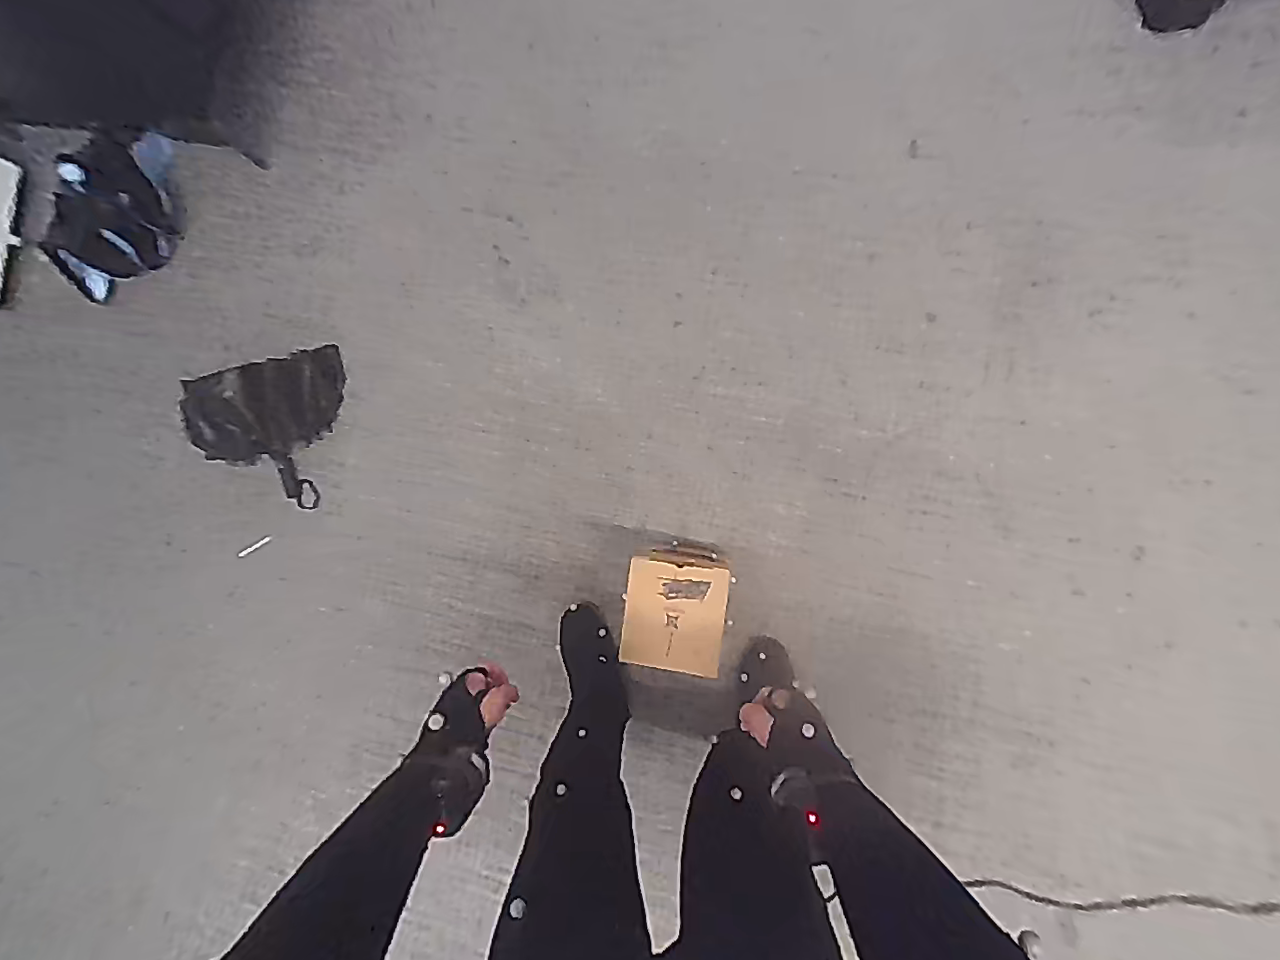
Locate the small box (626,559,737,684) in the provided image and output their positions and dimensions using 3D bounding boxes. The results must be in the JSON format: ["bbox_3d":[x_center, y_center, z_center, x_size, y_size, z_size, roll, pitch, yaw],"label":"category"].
[{"bbox_3d":[0.079,0.240,0.963,0.168,0.176,0.179,6,86,11],"label":"small box"}]

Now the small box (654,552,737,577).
[{"bbox_3d":[0.110,0.248,1.125,0.168,0.176,0.179,6,87,11],"label":"small box"}]
